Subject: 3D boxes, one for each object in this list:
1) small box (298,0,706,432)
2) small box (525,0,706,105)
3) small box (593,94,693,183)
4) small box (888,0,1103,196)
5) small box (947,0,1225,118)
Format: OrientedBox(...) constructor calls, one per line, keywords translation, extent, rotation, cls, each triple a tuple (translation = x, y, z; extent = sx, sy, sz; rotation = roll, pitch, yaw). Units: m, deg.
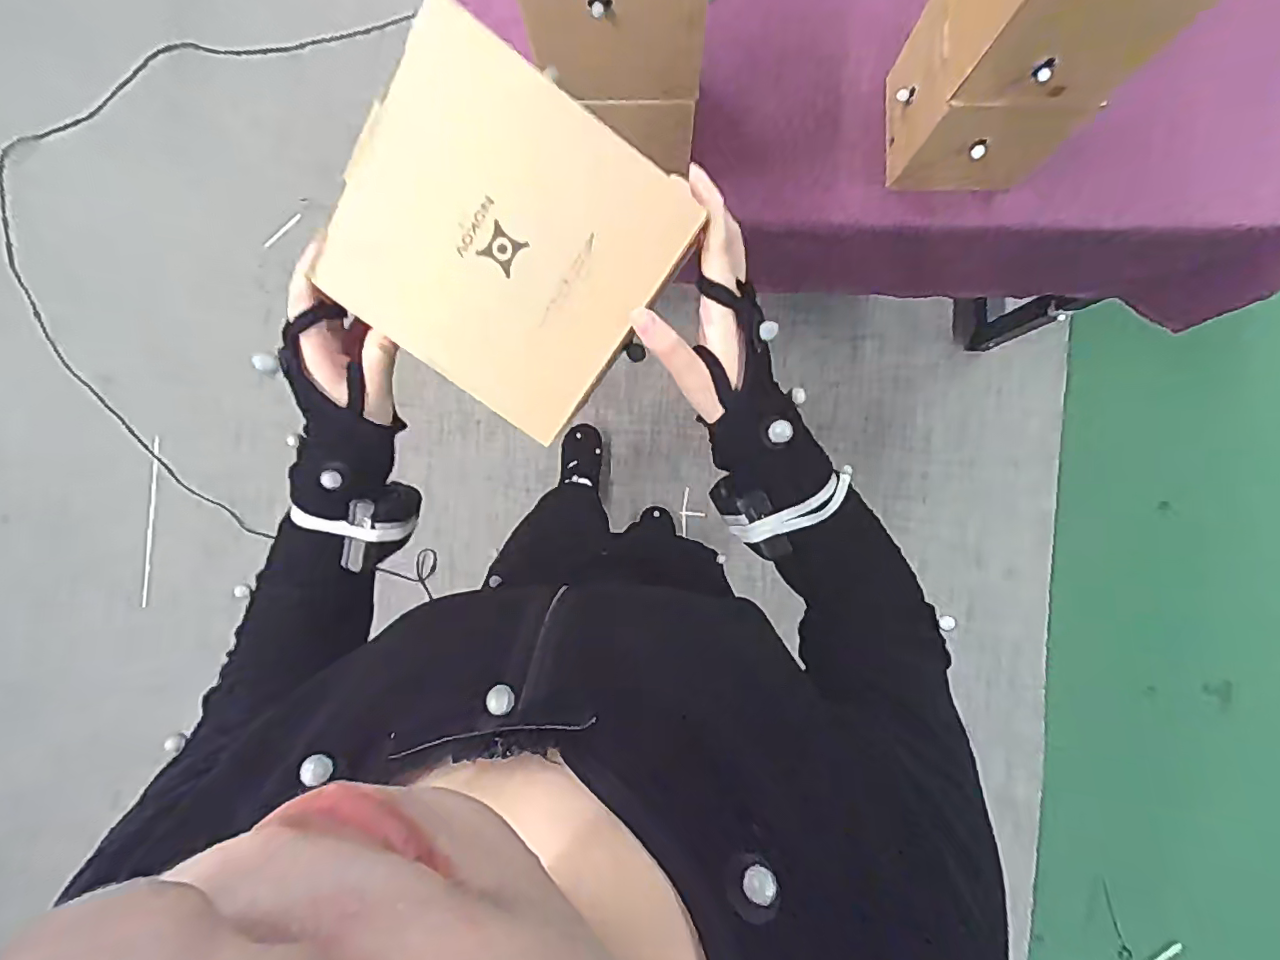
OrientedBox(translation=(-0.074, -0.162, 0.373), extent=(0.179, 0.176, 0.168), rotation=(37, 108, -8), cls="small box")
OrientedBox(translation=(-0.021, -0.510, 0.538), extent=(0.179, 0.176, 0.168), rotation=(1, 89, 1), cls="small box")
OrientedBox(translation=(-0.014, -0.506, 0.702), extent=(0.168, 0.176, 0.179), rotation=(2, 88, 2), cls="small box")
OrientedBox(translation=(0.432, -0.483, 0.686), extent=(0.179, 0.176, 0.168), rotation=(1, 88, 3), cls="small box")
OrientedBox(translation=(0.423, -0.495, 0.523), extent=(0.168, 0.176, 0.179), rotation=(2, 89, 2), cls="small box")
